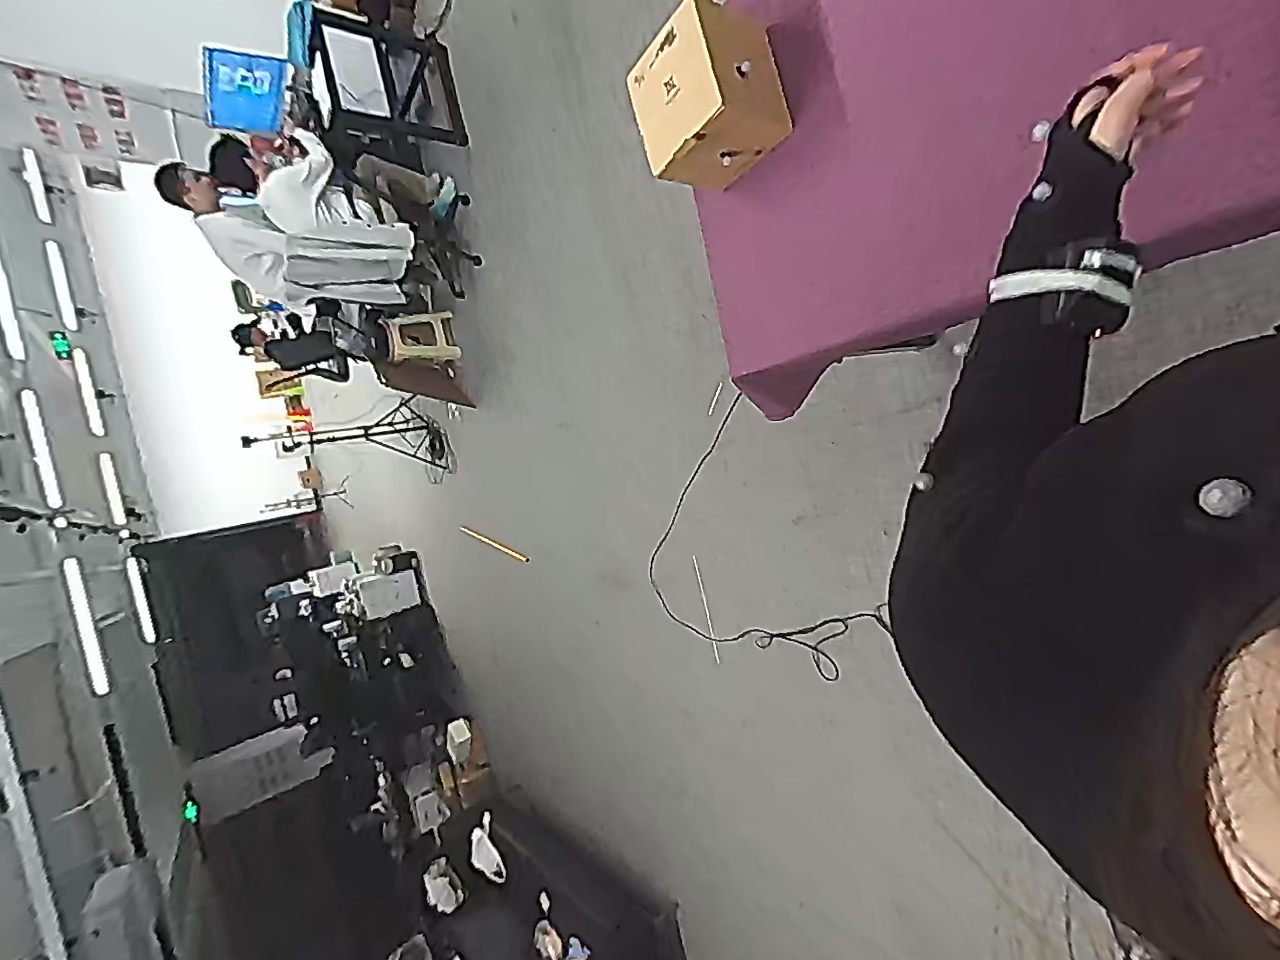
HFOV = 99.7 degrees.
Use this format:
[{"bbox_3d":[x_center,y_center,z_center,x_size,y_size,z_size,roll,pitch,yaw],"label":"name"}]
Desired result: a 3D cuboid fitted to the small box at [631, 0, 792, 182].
[{"bbox_3d":[0.118,-0.609,0.872,0.168,0.176,0.179,-17,89,52],"label":"small box"}]
